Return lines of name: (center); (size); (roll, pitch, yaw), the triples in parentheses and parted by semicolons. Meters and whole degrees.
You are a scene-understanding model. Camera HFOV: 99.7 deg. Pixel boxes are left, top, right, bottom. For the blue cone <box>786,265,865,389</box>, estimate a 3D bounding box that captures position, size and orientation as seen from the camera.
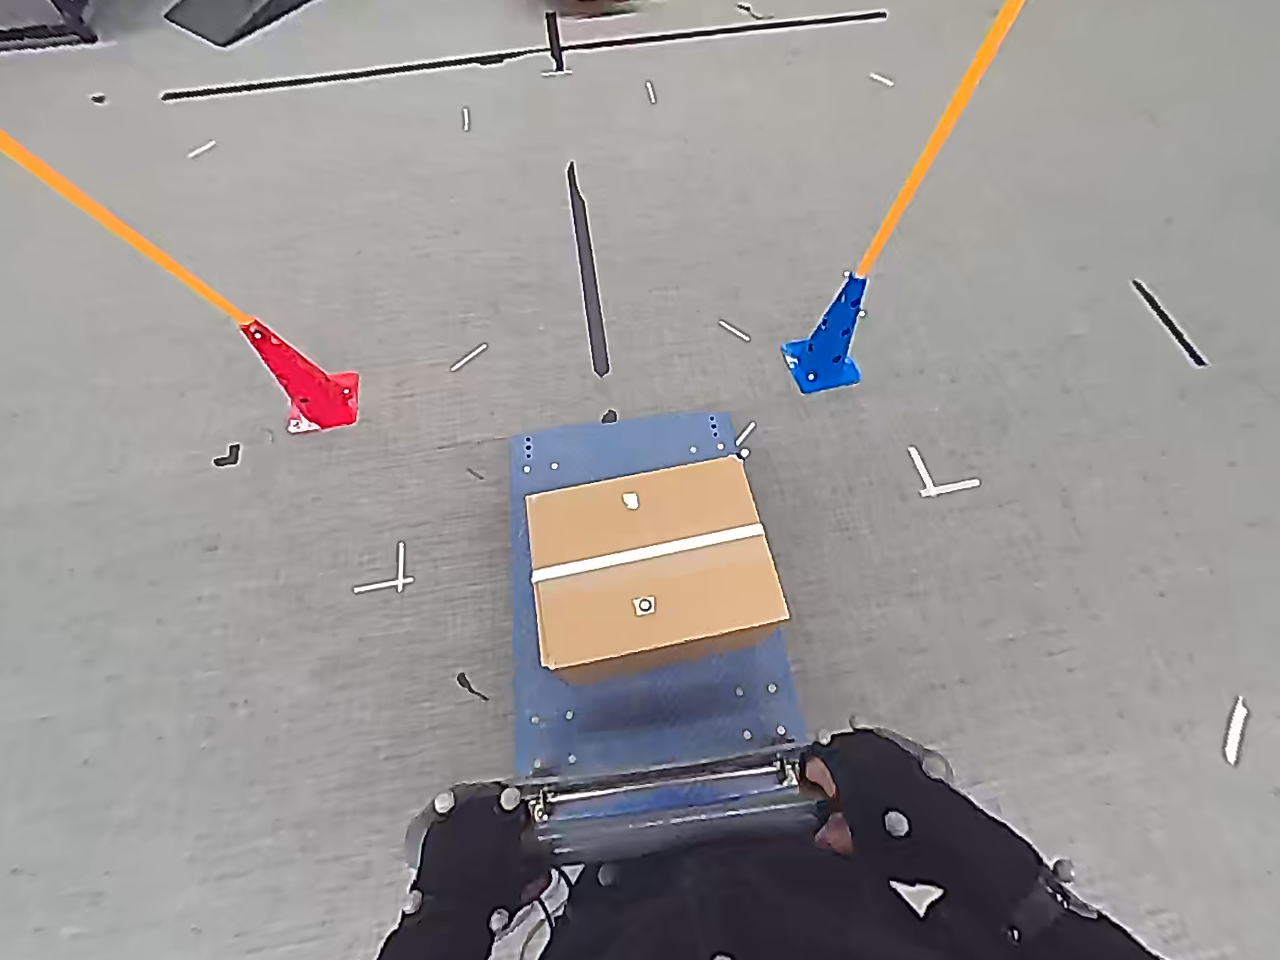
blue cone: (0.569, -0.446, 1.549); (0.193, 0.380, 0.192); (-12, 63, -5)
